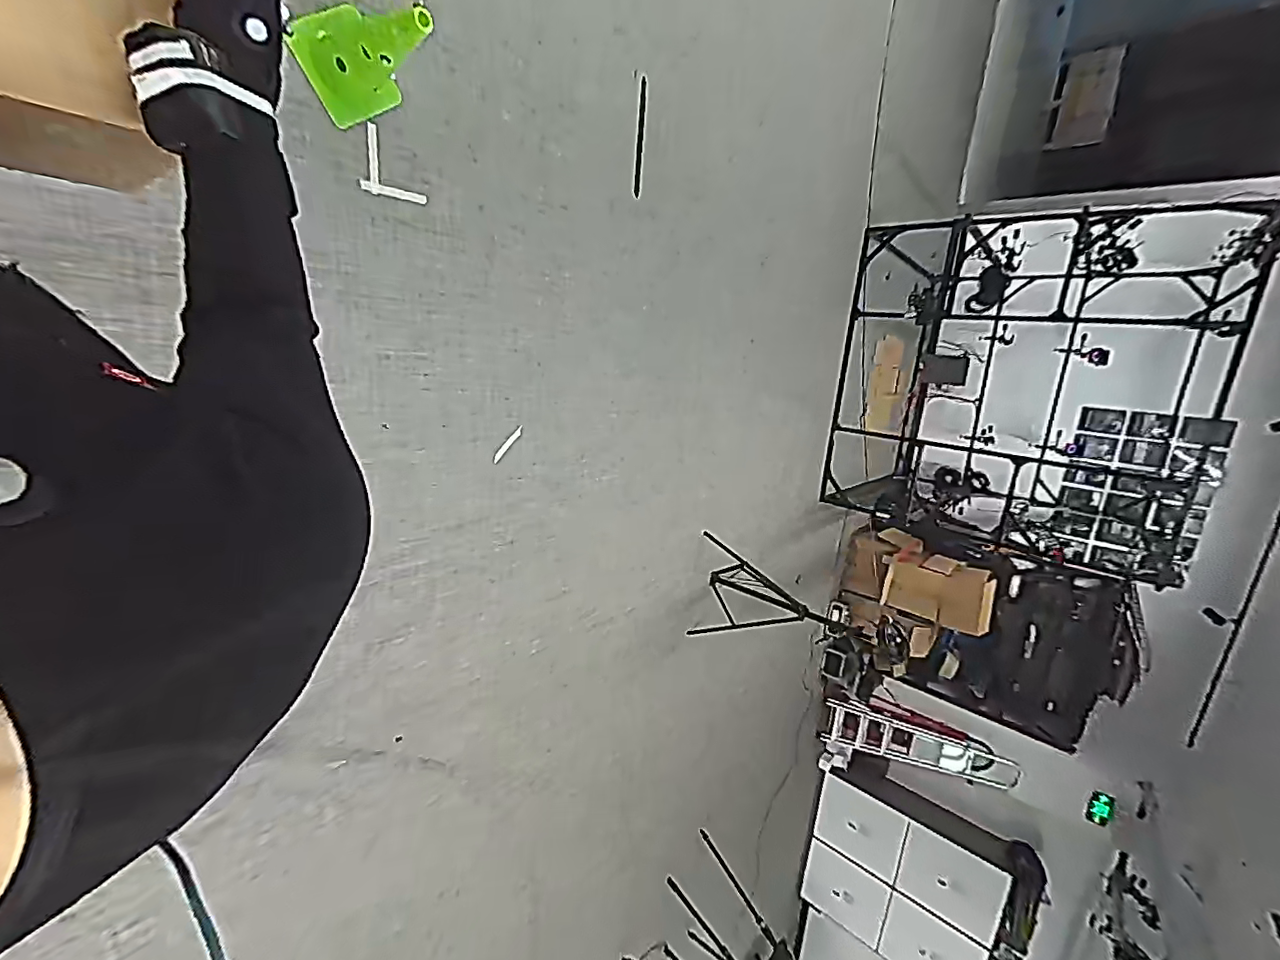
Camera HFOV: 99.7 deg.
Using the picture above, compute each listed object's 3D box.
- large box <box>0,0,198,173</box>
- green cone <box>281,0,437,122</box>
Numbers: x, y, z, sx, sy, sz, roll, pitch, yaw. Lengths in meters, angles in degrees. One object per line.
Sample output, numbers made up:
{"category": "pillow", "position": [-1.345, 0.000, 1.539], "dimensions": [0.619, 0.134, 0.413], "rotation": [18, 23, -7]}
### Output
{"category": "large box", "position": [-0.575, -0.426, 0.326], "dimensions": [0.408, 0.320, 0.320], "rotation": [-12, 112, -50]}
{"category": "green cone", "position": [-0.549, -0.927, 1.145], "dimensions": [0.202, 0.368, 0.200], "rotation": [-52, 138, -29]}
